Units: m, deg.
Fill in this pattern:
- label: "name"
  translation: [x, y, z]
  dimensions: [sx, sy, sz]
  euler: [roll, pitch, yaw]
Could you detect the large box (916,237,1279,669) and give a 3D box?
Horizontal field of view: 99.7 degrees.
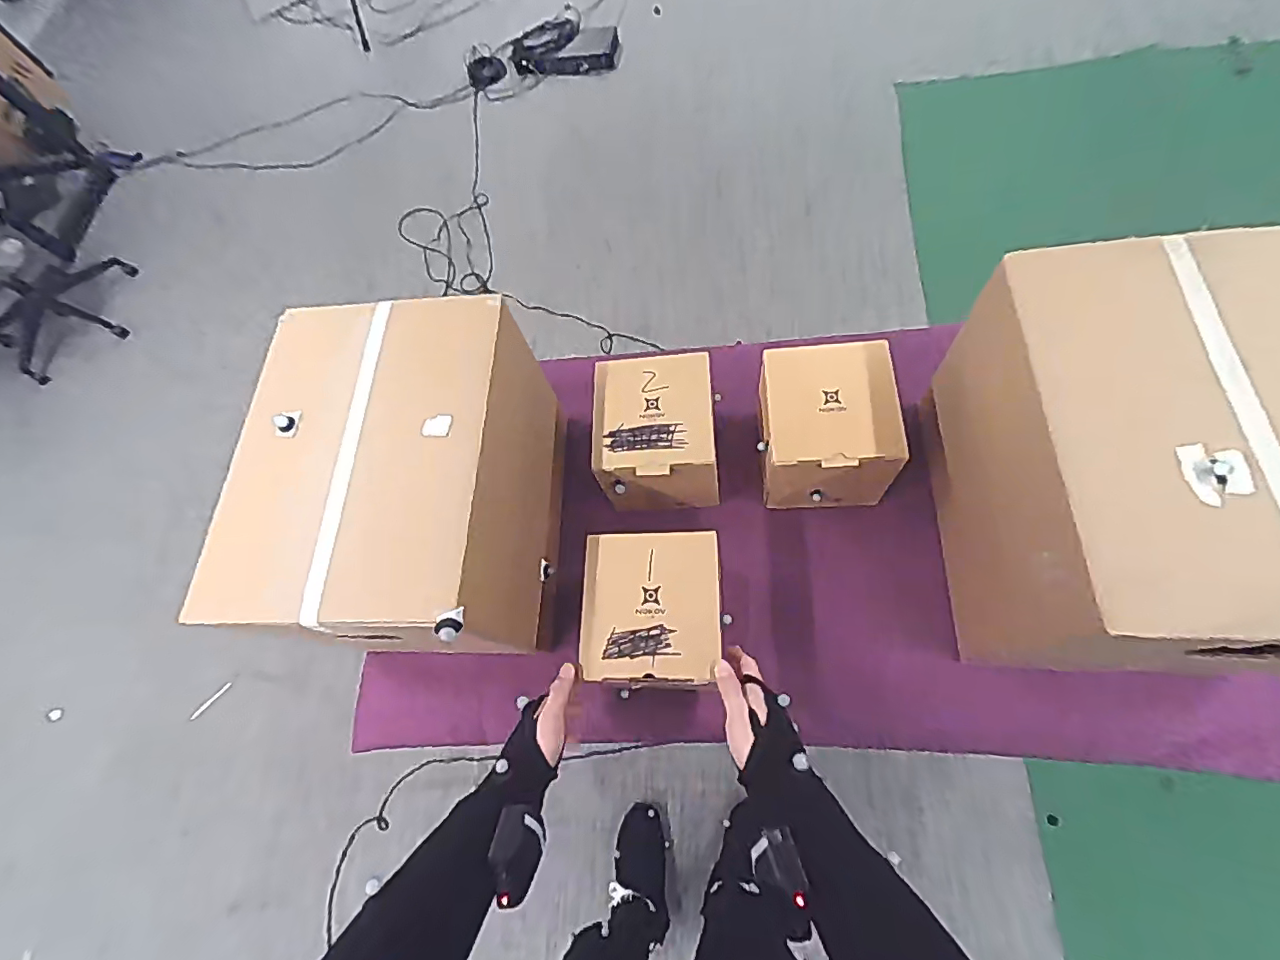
- label: "large box"
  translation: [0.557, -0.005, 0.623]
  dimensions: [0.320, 0.320, 0.408]
  euler: [-2, 68, 10]
